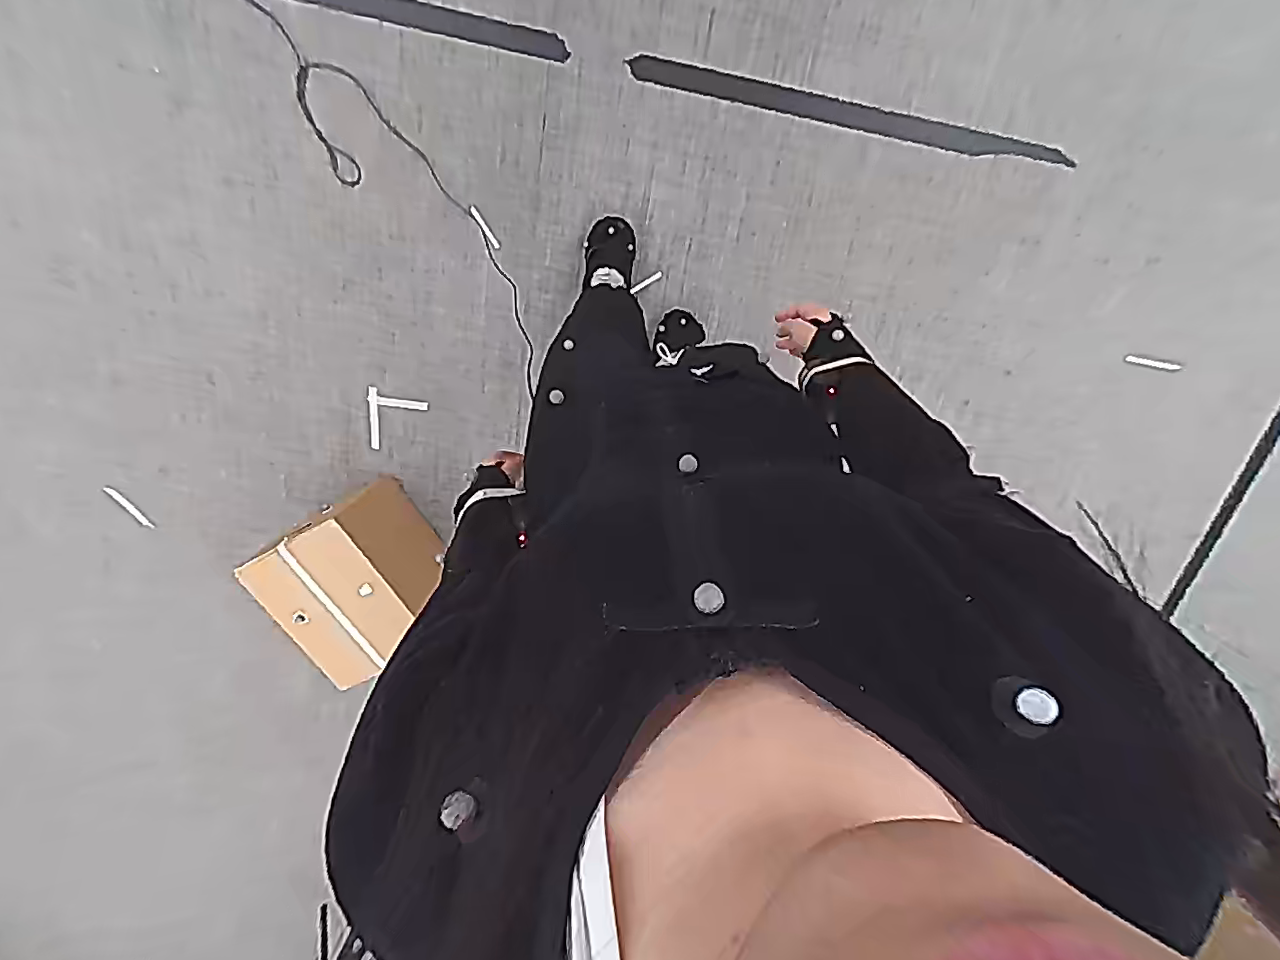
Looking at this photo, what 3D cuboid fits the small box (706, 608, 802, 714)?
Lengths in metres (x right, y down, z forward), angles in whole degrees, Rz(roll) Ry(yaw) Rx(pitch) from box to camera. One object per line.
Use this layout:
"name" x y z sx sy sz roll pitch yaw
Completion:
"small box" 0.289 0.461 1.411 0.168 0.176 0.179 -36 108 14

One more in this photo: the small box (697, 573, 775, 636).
"small box" 0.282 0.404 1.563 0.168 0.176 0.179 -32 107 11
